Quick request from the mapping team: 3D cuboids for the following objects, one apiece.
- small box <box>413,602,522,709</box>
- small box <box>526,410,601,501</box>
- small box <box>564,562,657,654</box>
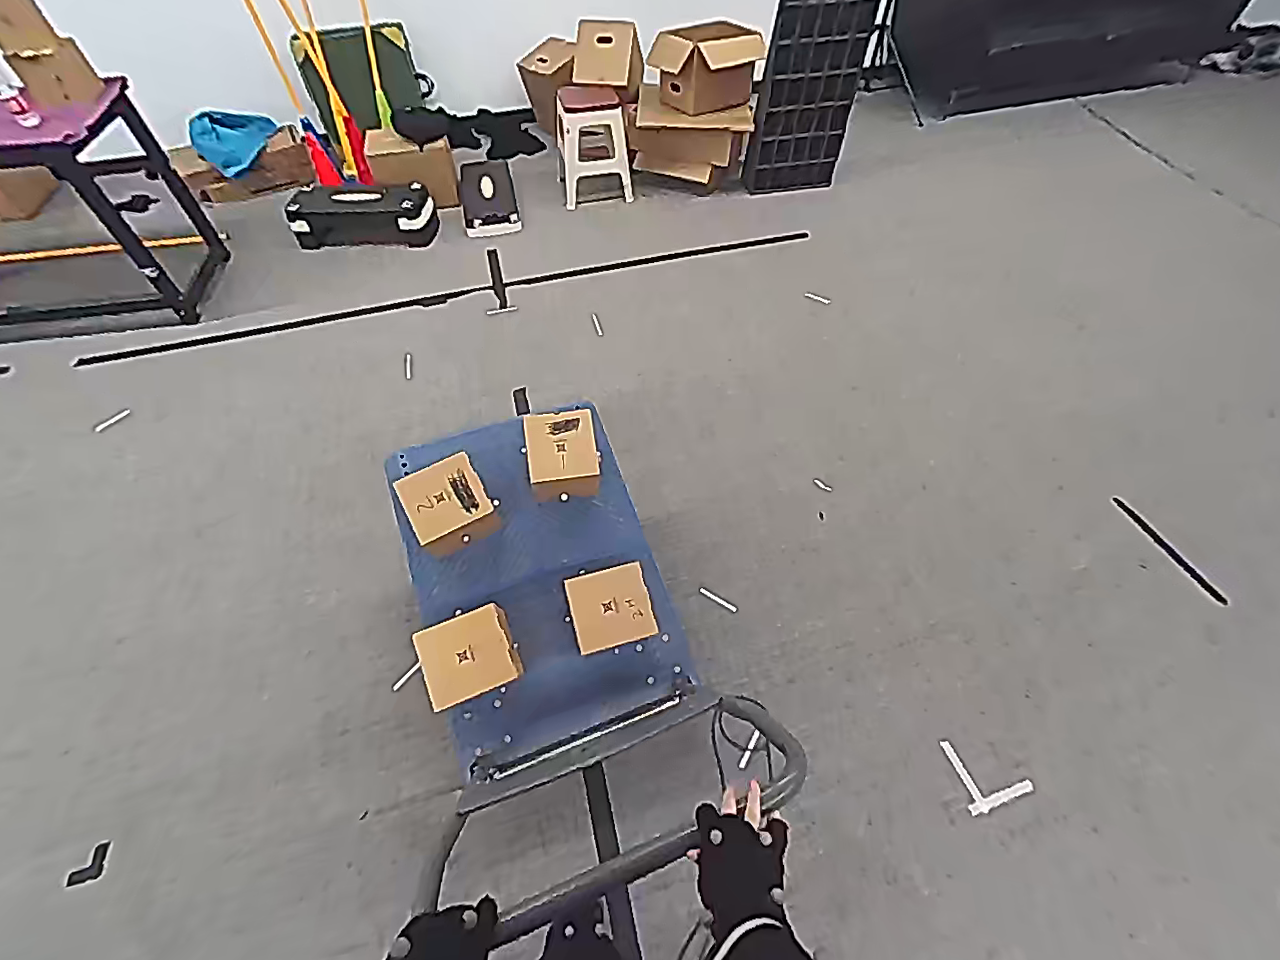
[{"bbox_3d":[-0.371,0.387,1.188,0.179,0.176,0.168,-20,74,-15],"label":"small box"},{"bbox_3d":[-0.196,-0.059,1.366,0.168,0.176,0.179,-7,73,-10],"label":"small box"},{"bbox_3d":[-0.073,0.302,1.255,0.179,0.176,0.168,-13,73,-11],"label":"small box"}]
